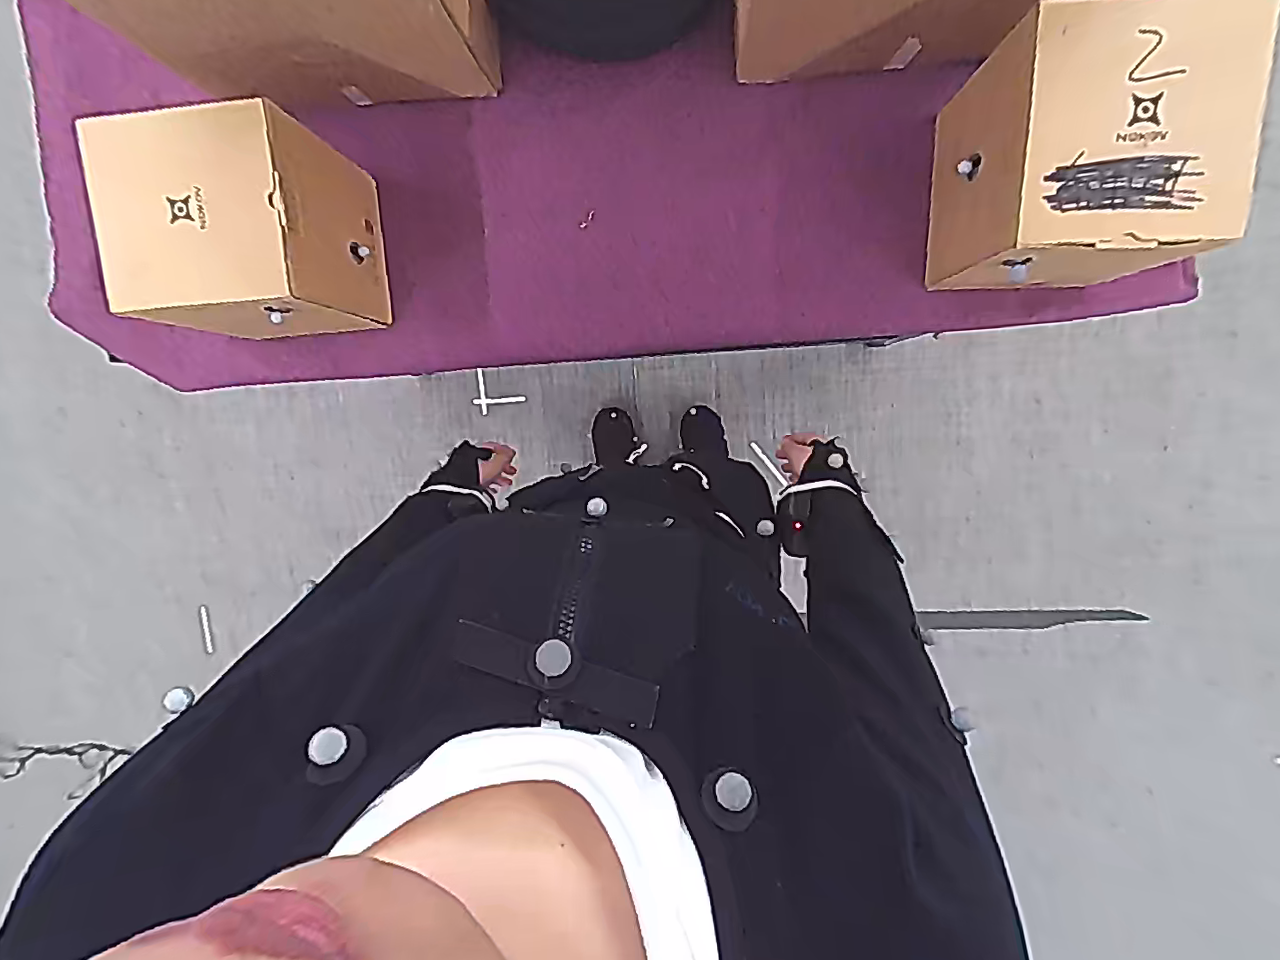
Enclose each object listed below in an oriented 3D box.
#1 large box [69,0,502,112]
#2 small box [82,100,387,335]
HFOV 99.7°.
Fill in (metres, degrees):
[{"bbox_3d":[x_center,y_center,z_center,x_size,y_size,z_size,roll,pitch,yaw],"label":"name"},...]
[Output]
[{"bbox_3d":[-0.318,-0.591,0.431,0.320,0.320,0.408,-1,101,5],"label":"large box"},{"bbox_3d":[-0.395,-0.249,0.557,0.179,0.176,0.168,-4,97,4],"label":"small box"}]
